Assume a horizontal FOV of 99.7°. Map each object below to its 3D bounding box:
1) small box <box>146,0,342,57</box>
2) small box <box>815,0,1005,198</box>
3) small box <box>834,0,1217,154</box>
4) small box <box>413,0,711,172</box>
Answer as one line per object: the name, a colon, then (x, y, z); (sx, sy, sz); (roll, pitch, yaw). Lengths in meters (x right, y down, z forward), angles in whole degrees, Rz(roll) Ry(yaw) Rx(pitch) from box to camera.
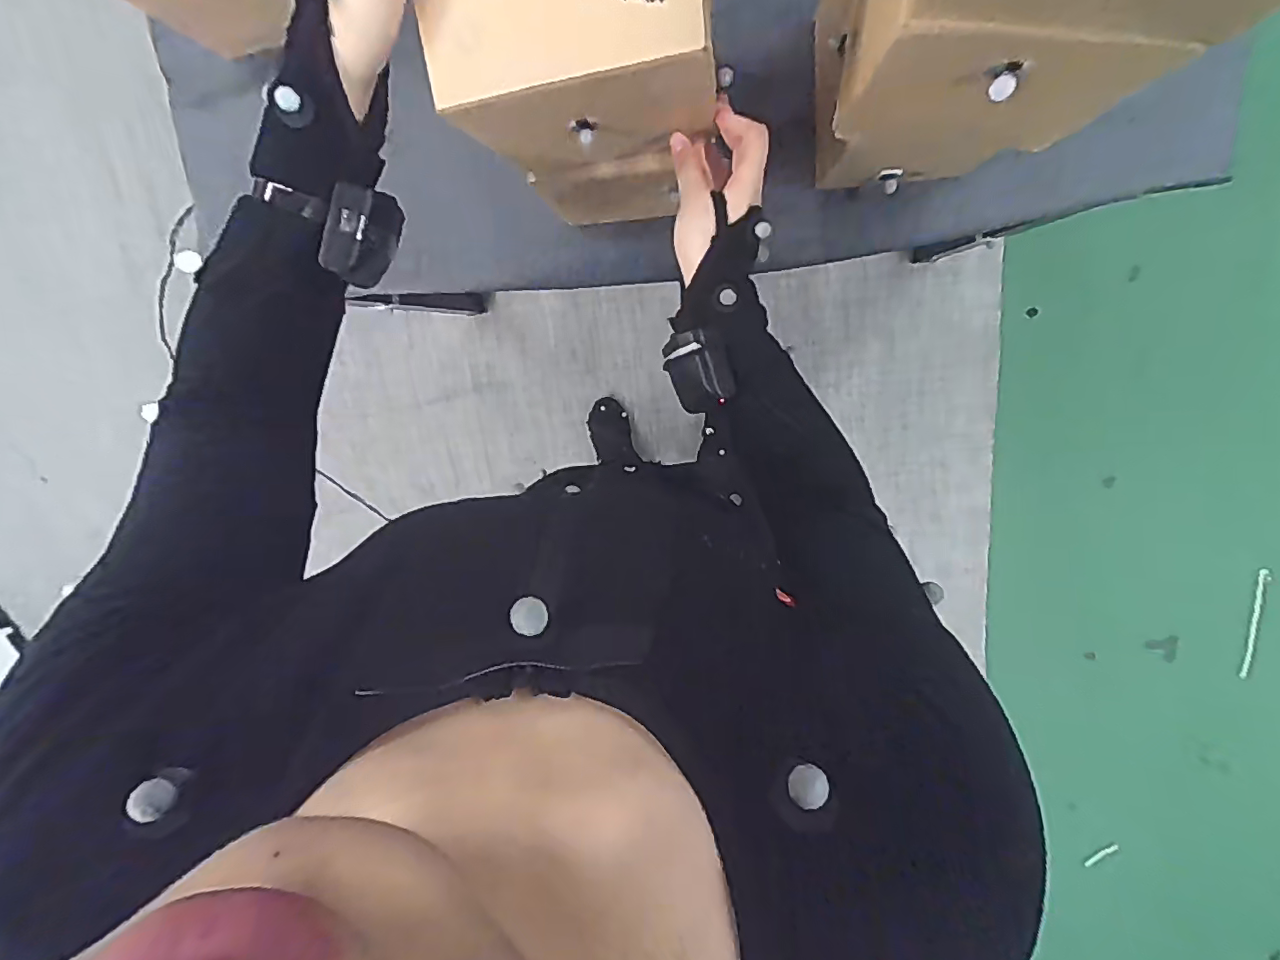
small box: (-0.443, -0.581, 0.546); (0.168, 0.176, 0.179); (-7, 105, 8)
small box: (0.268, -0.394, 0.520); (0.168, 0.176, 0.179); (-3, 104, 8)
small box: (0.251, -0.342, 0.366); (0.179, 0.176, 0.168); (8, 104, 6)
small box: (-0.042, -0.338, 0.382); (0.179, 0.176, 0.168); (-3, 106, 12)
